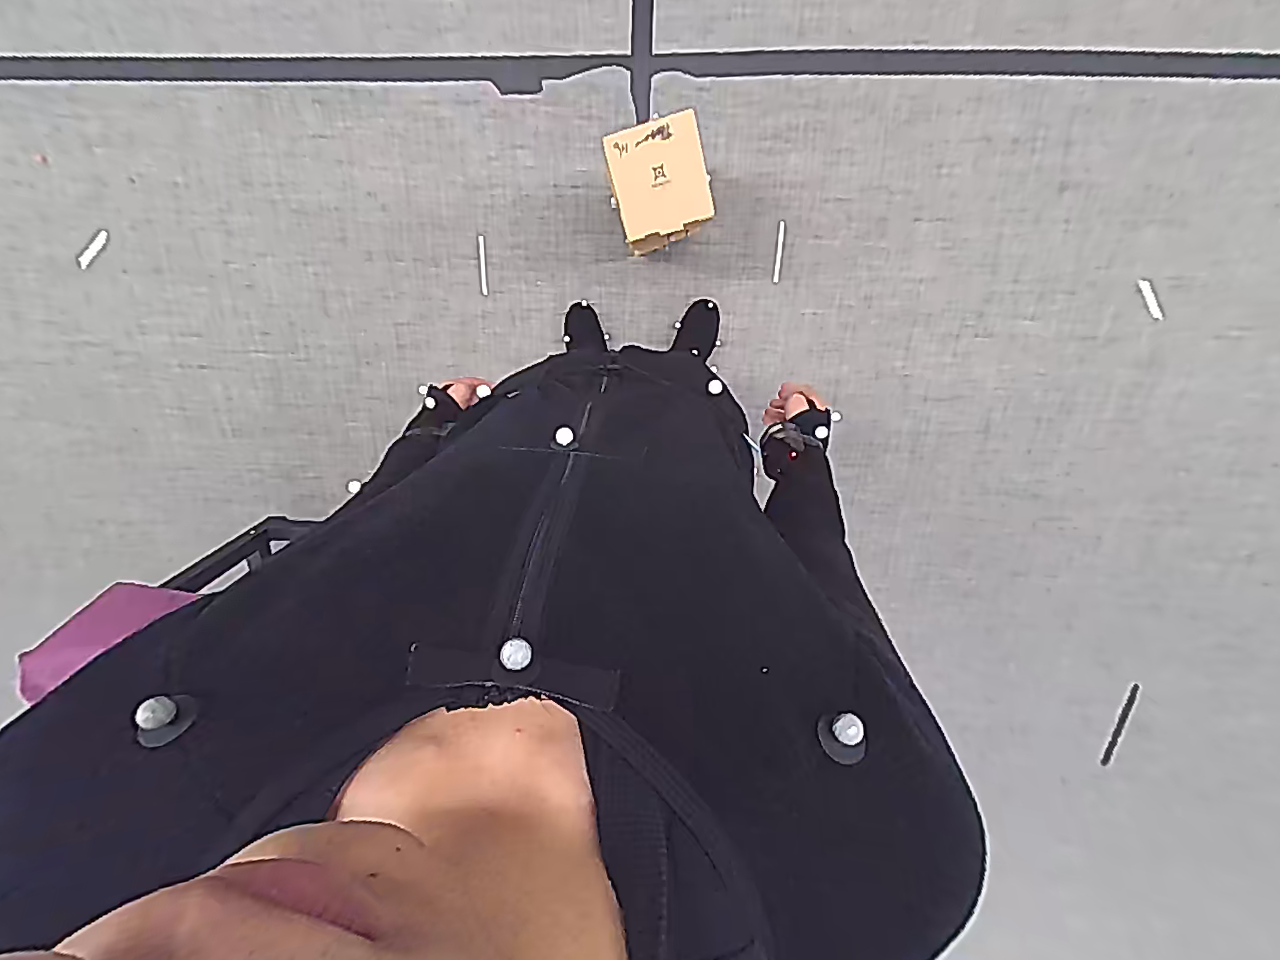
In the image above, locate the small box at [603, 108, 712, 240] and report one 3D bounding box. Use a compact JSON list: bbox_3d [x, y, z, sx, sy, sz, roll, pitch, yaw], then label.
[{"bbox_3d":[0.037,-0.570,1.032,0.168,0.176,0.179,-14,111,7],"label":"small box"}]
